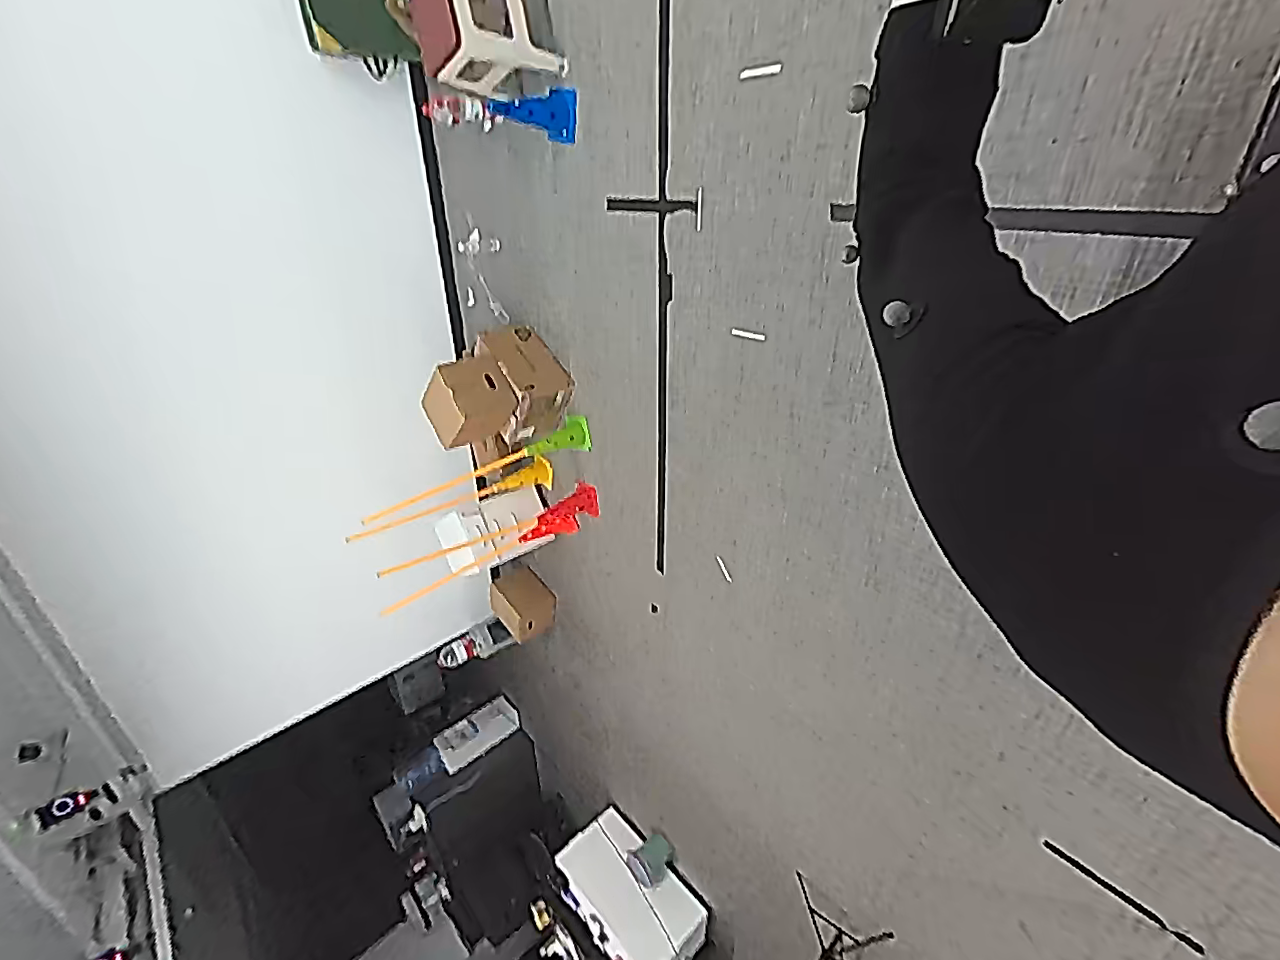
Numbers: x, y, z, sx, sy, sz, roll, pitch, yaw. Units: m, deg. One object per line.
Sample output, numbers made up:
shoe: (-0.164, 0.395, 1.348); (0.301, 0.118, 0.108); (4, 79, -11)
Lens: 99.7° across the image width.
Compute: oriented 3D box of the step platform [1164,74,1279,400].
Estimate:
step platform: (1.208, -0.479, 0.927); (0.286, 0.204, 0.684); (24, 125, 42)
